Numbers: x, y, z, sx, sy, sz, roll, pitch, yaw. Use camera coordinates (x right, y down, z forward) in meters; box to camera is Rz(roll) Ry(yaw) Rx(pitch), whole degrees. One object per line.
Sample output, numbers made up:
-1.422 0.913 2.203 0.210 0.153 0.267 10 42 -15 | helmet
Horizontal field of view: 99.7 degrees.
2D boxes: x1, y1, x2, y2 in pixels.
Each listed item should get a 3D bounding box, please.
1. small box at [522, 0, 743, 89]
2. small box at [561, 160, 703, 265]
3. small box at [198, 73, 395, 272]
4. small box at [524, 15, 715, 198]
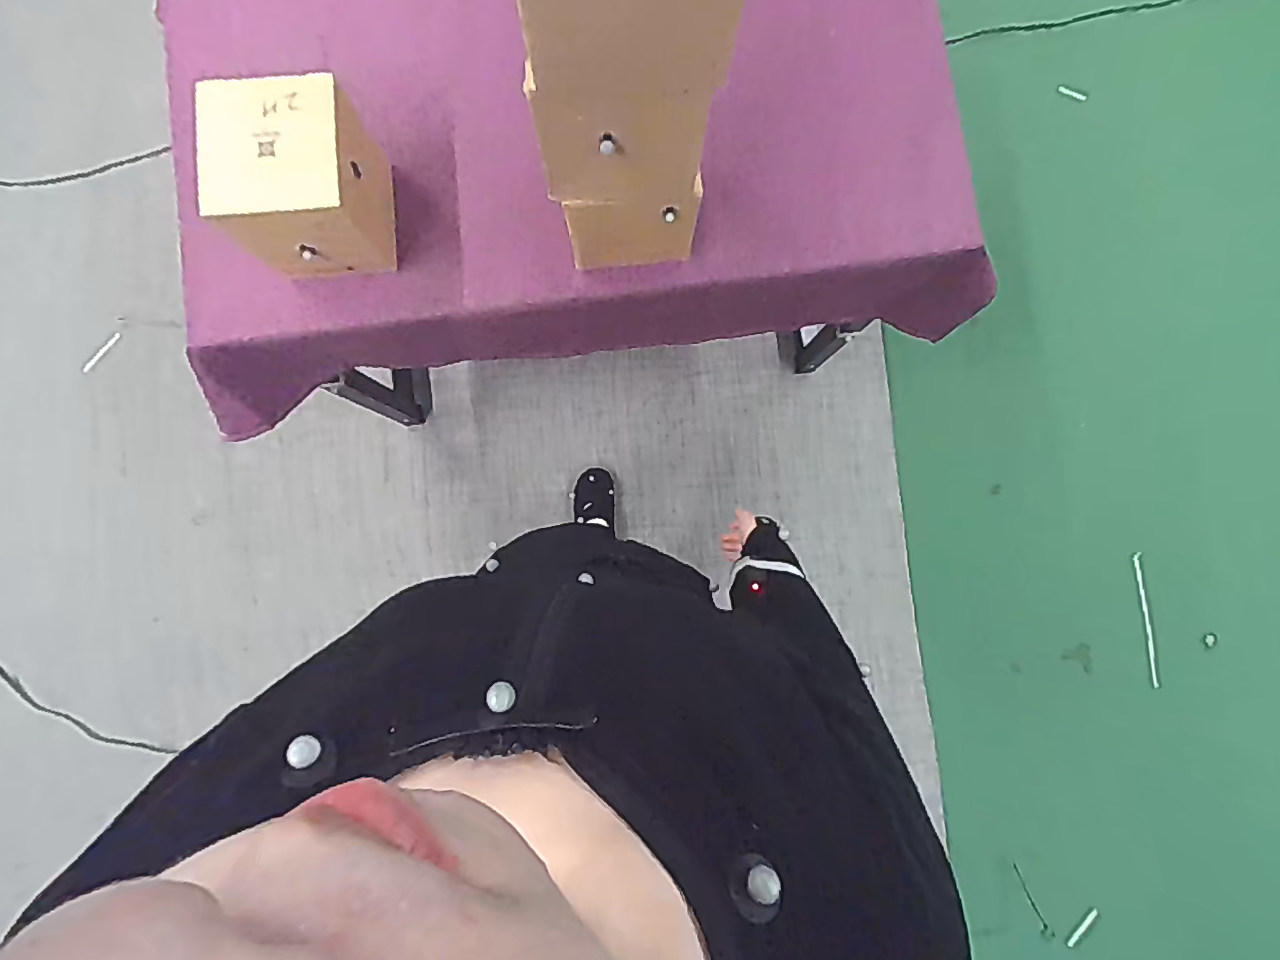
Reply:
-0.007 -0.438 0.412 0.179 0.176 0.168 -2 85 -3 | small box
-0.018 -0.412 0.740 0.179 0.176 0.168 -6 85 -2 | small box
-0.445 -0.395 0.726 0.168 0.176 0.179 -5 85 -2 | small box
-0.021 -0.425 0.576 0.179 0.176 0.168 -2 86 -1 | small box
